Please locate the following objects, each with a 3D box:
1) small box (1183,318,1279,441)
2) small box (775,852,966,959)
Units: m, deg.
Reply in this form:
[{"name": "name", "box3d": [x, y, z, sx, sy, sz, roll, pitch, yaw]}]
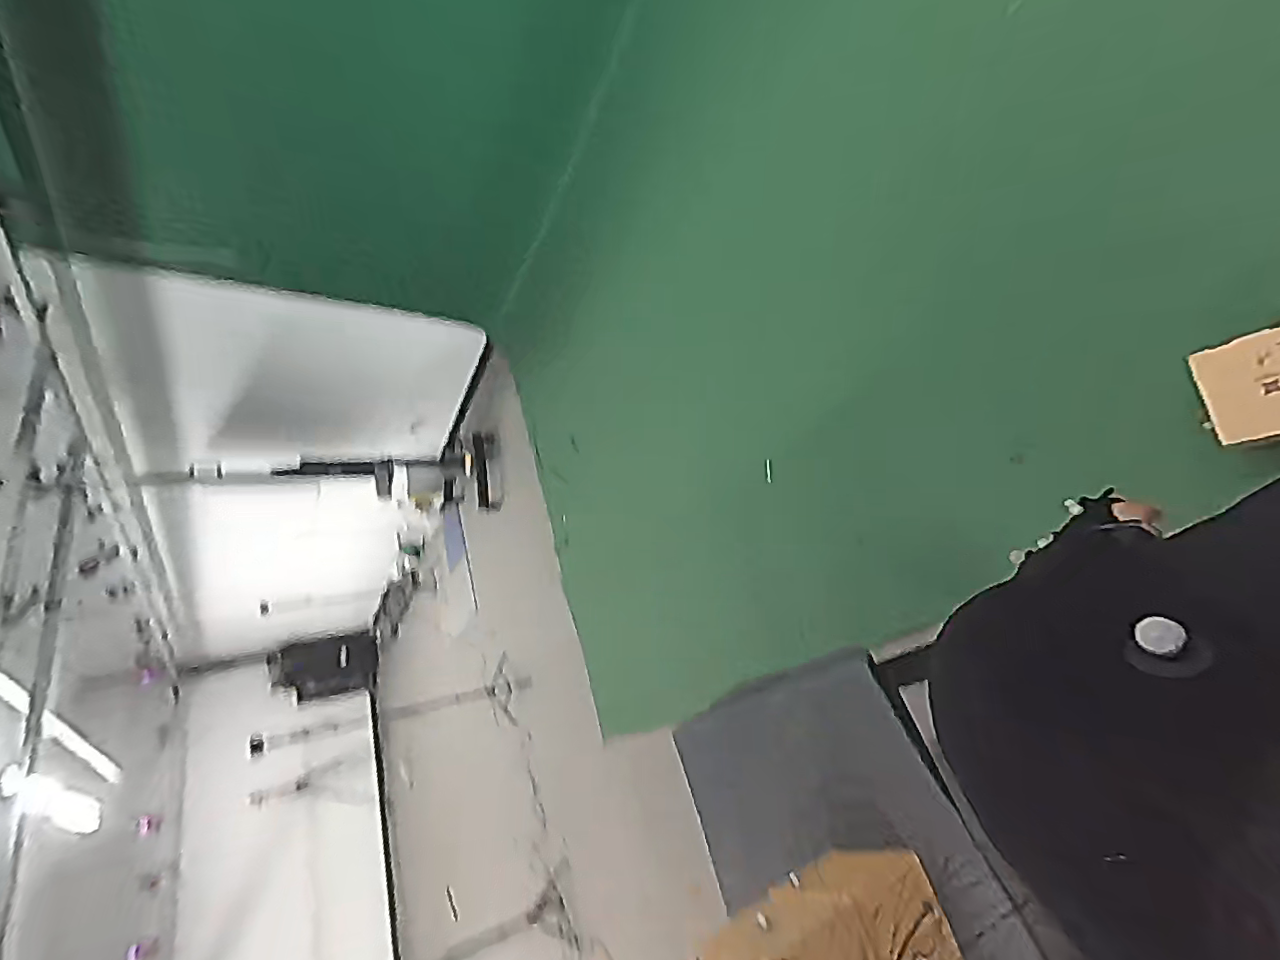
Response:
[{"name": "small box", "box3d": [1.108, -0.174, 0.945, 0.168, 0.176, 0.179, -25, 70, 51]}, {"name": "small box", "box3d": [0.340, 0.668, 0.787, 0.179, 0.176, 0.168, -49, 53, 45]}]
